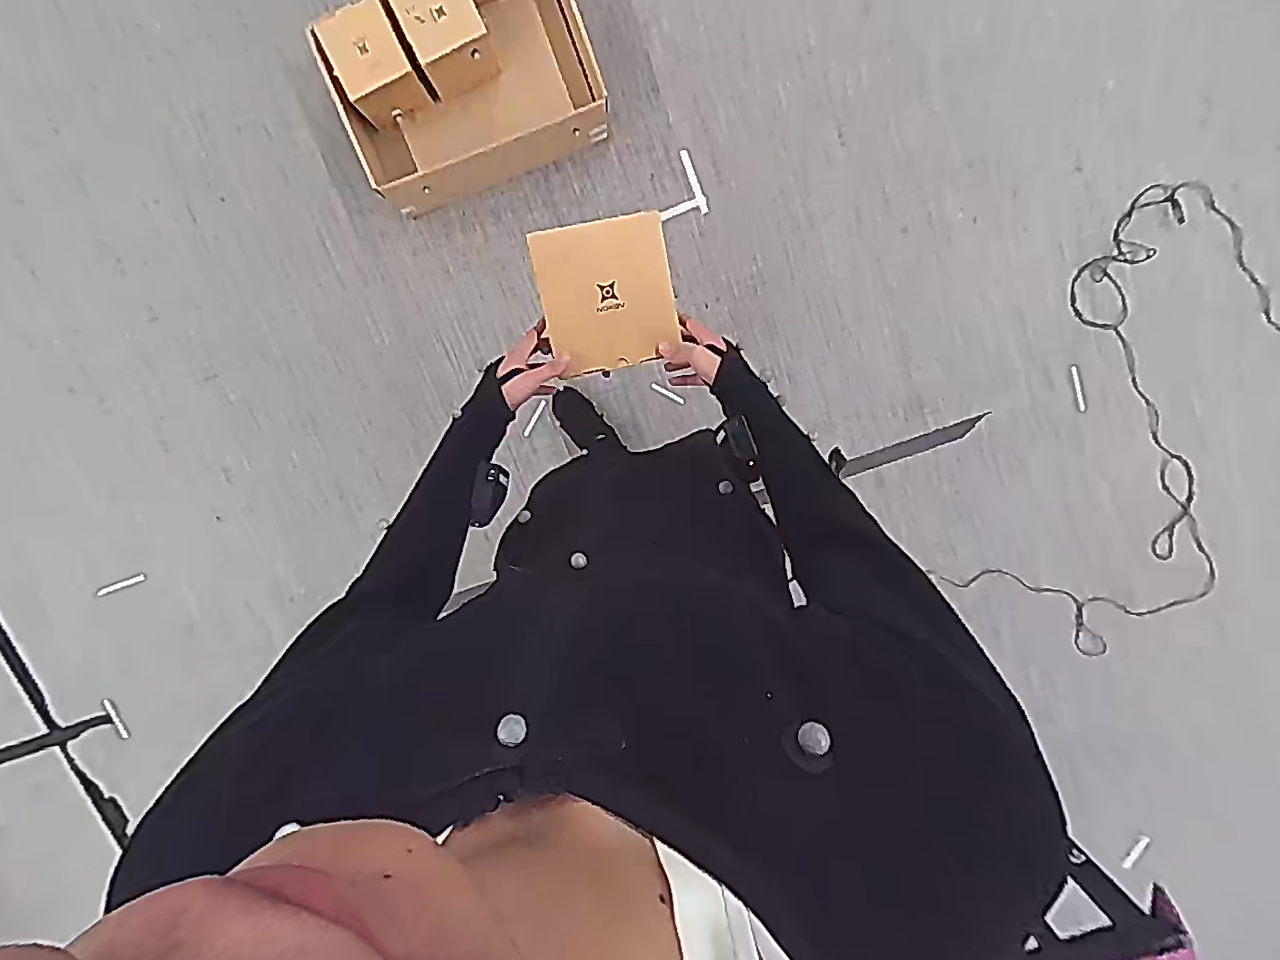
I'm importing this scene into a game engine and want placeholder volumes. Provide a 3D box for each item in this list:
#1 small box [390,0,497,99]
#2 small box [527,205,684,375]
[{"bbox_3d":[-0.464,-1.077,1.306,0.179,0.176,0.168,-26,99,2],"label":"small box"},{"bbox_3d":[-0.051,-0.246,0.733,0.168,0.176,0.179,-14,105,-5],"label":"small box"}]
